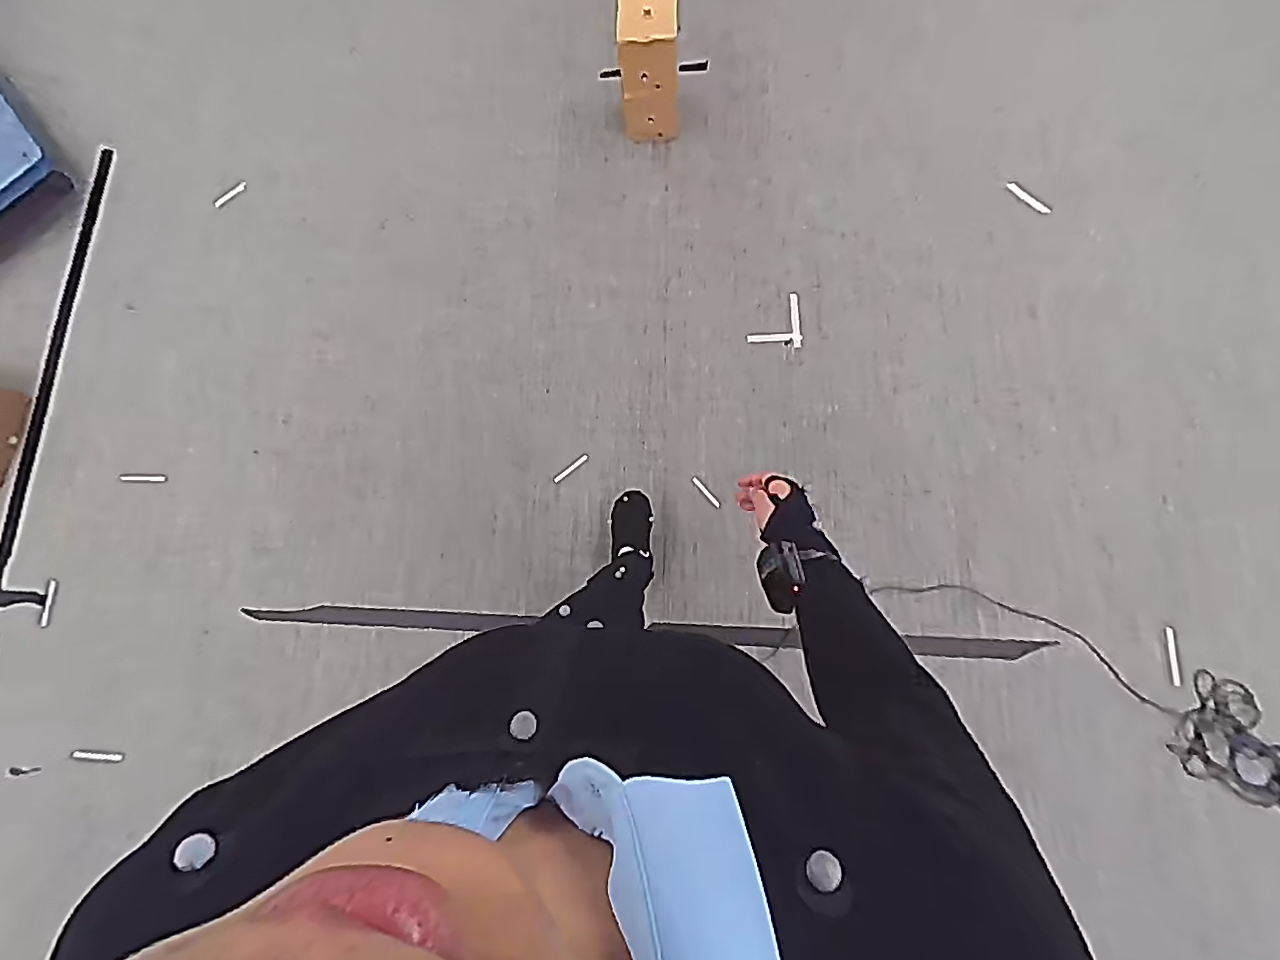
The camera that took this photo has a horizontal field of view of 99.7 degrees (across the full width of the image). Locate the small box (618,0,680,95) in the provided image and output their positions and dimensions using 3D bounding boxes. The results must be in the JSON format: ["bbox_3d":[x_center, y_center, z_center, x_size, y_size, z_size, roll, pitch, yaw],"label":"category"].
[{"bbox_3d":[0.030,-1.254,1.552,0.168,0.176,0.179,0,79,6],"label":"small box"}]

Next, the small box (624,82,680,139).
[{"bbox_3d":[0.041,-1.213,1.710,0.168,0.176,0.179,-2,78,5],"label":"small box"}]
